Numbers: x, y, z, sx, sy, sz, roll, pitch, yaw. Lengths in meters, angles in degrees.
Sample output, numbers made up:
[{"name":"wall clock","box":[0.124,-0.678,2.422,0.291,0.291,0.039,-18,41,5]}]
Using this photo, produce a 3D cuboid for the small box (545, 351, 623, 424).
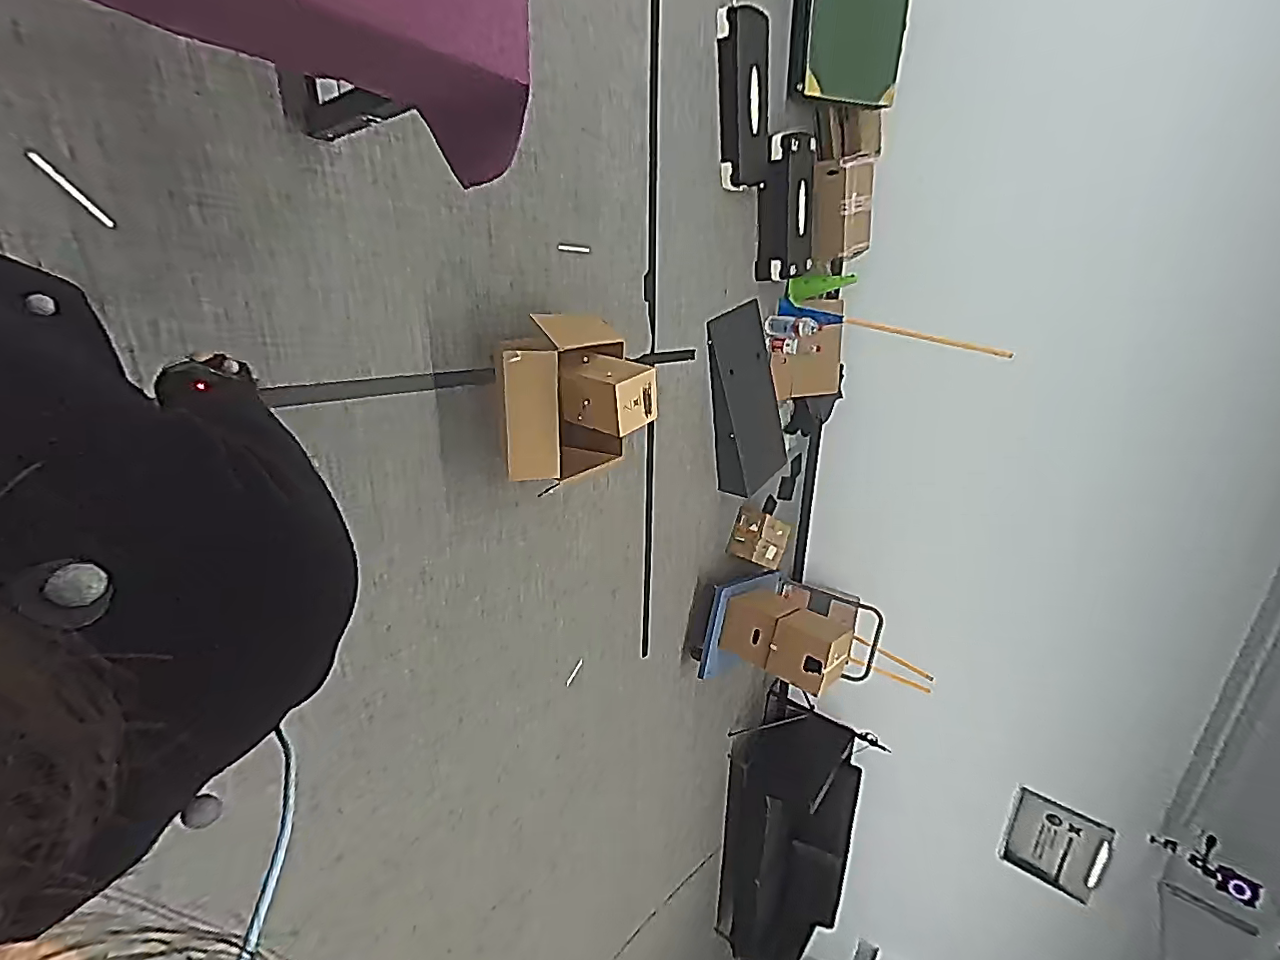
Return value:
[{"name":"small box","box":[-0.183,-0.308,1.754,0.168,0.176,0.179,-42,136,-32]}]
